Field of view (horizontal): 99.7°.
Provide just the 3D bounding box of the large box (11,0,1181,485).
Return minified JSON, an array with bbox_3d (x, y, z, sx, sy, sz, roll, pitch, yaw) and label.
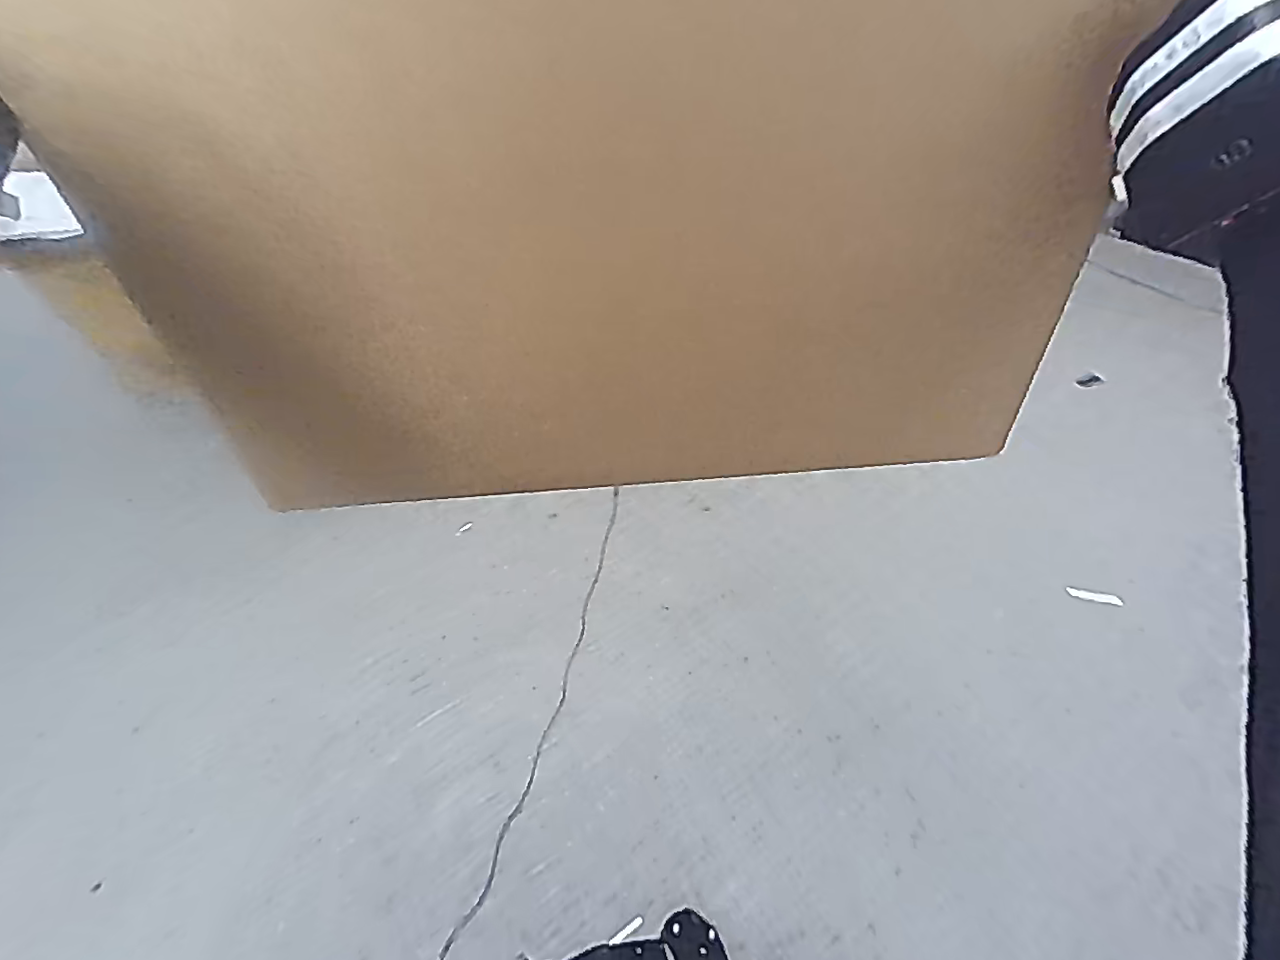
[{"bbox_3d":[-0.013,-0.216,0.324,0.408,0.320,0.320,-3,39,0],"label":"large box"}]
